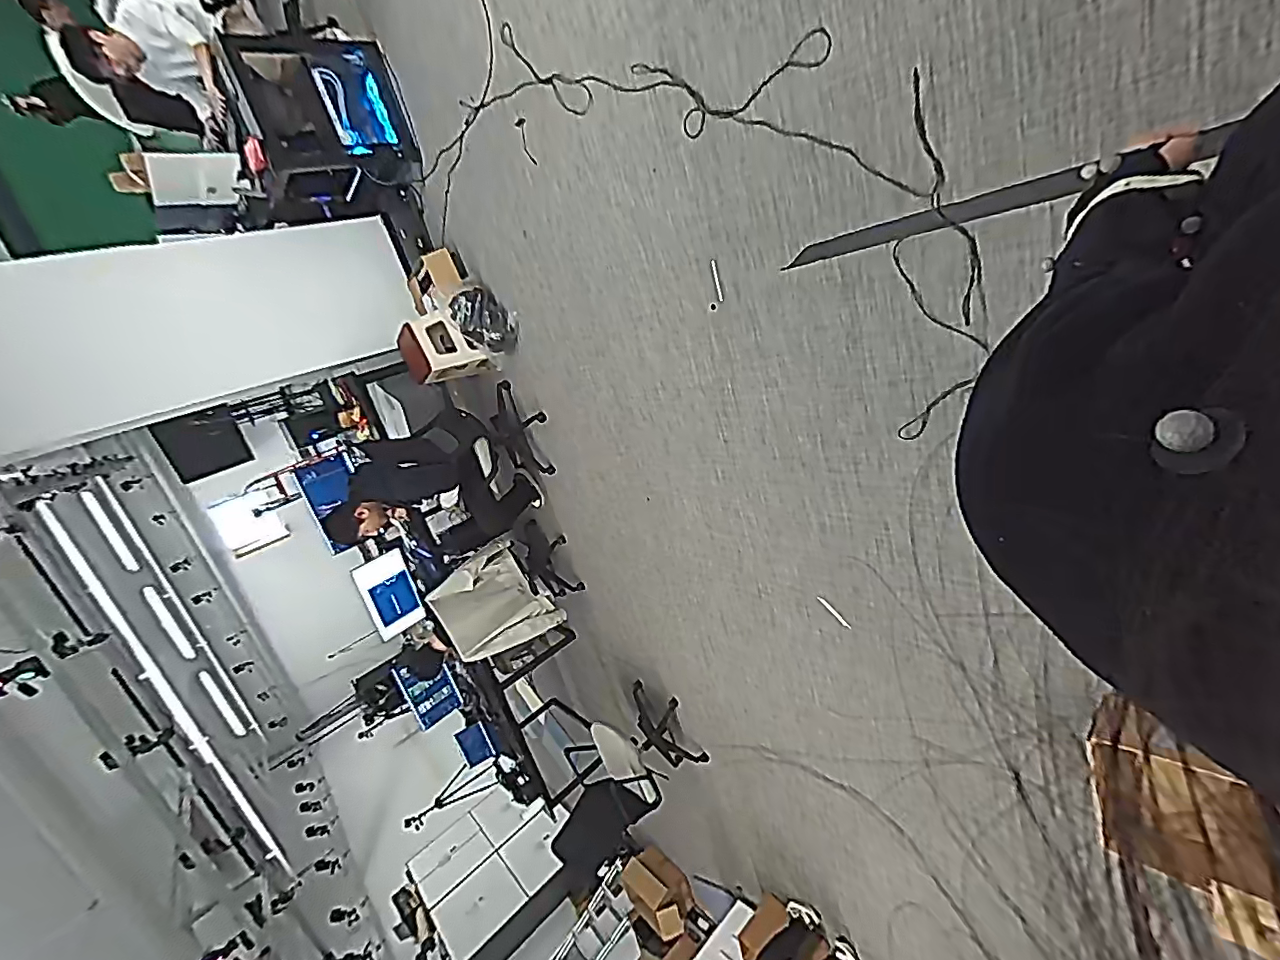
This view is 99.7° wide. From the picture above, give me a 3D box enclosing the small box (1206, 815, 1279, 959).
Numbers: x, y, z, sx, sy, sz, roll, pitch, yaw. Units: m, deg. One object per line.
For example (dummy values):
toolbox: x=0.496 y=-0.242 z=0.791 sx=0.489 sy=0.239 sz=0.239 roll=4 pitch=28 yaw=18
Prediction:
small box: x=1.307 y=0.853 z=1.120 sx=0.168 sy=0.176 sz=0.179 roll=0 pitch=114 yaw=52
